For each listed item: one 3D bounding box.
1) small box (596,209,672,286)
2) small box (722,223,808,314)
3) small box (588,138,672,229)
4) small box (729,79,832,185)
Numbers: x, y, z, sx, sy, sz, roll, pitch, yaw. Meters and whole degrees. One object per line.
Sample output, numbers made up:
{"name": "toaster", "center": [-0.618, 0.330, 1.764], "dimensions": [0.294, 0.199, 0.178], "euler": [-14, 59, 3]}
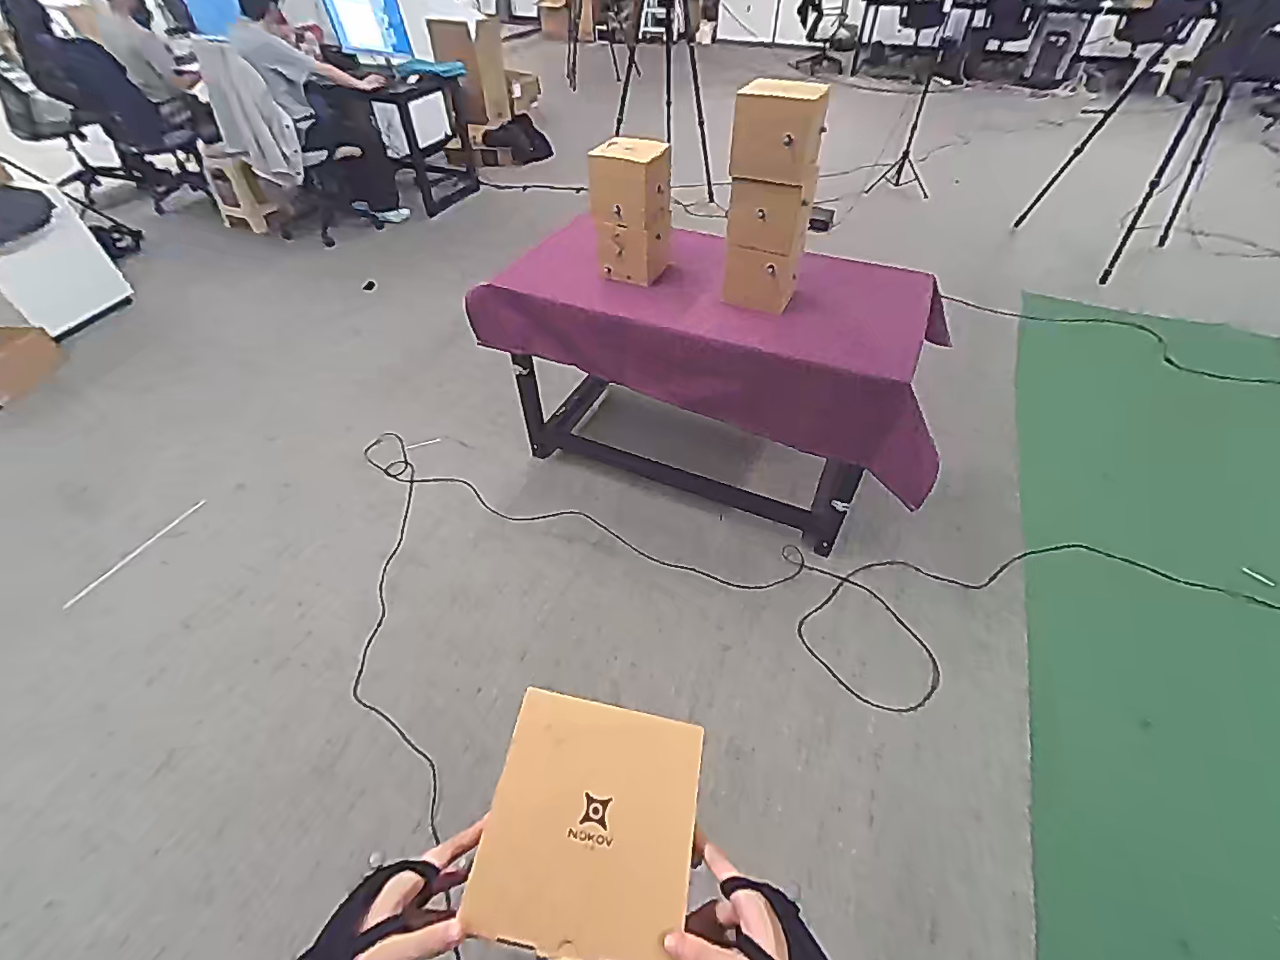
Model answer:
{"name": "small box", "center": [-0.014, -0.702, 1.611], "dimensions": [0.168, 0.176, 0.179], "euler": [19, 49, 17]}
{"name": "small box", "center": [0.340, -0.581, 1.491], "dimensions": [0.179, 0.176, 0.168], "euler": [20, 50, 18]}
{"name": "small box", "center": [-0.026, -0.817, 1.494], "dimensions": [0.179, 0.176, 0.168], "euler": [21, 50, 18]}
{"name": "small box", "center": [0.320, -0.802, 1.249], "dimensions": [0.179, 0.176, 0.168], "euler": [19, 49, 18]}
